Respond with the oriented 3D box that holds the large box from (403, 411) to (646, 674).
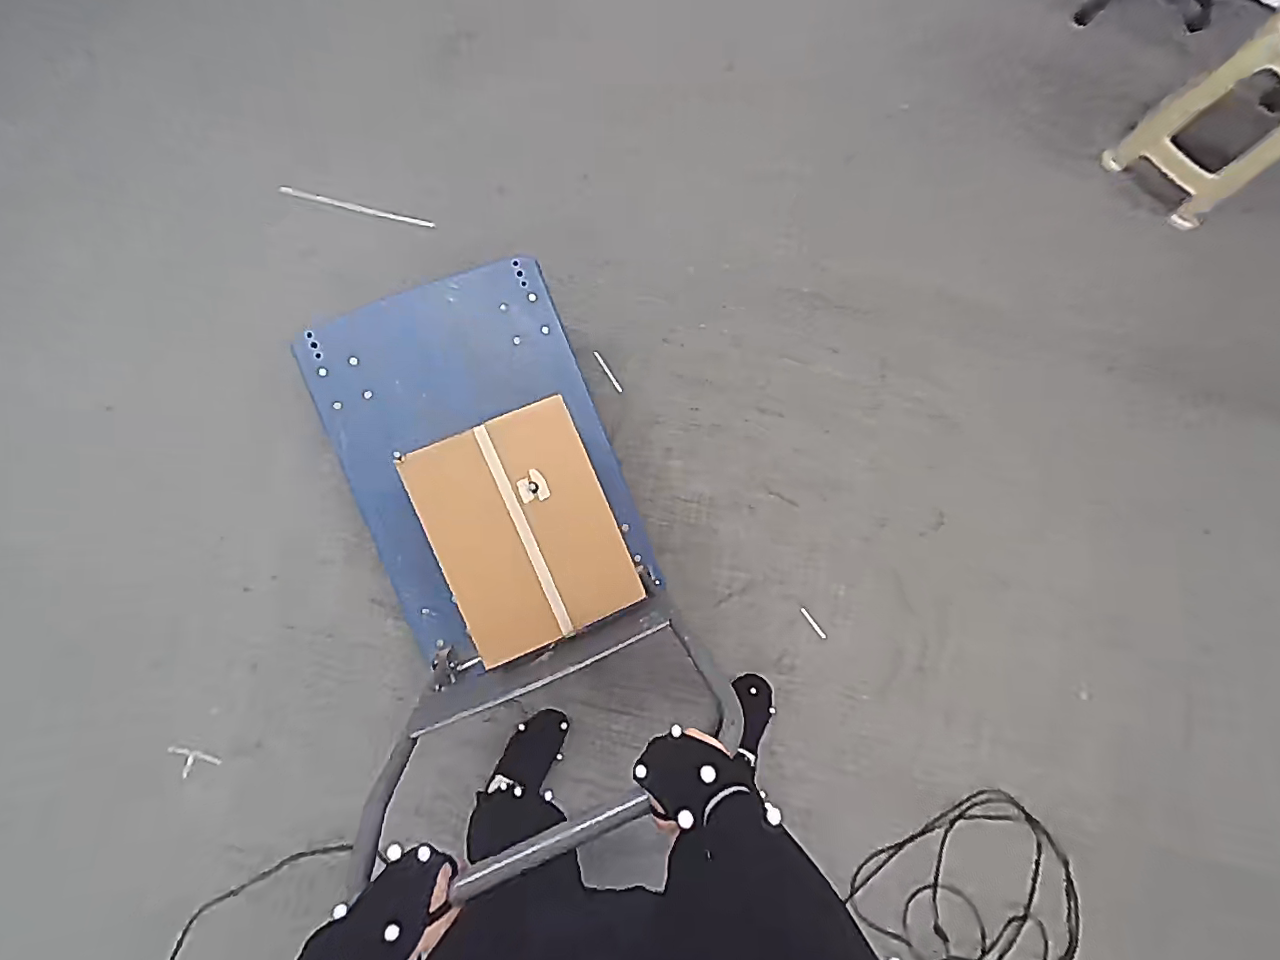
[{"bbox_3d":[-0.219,0.114,1.128,0.320,0.320,0.408,-24,92,-7],"label":"large box"}]
